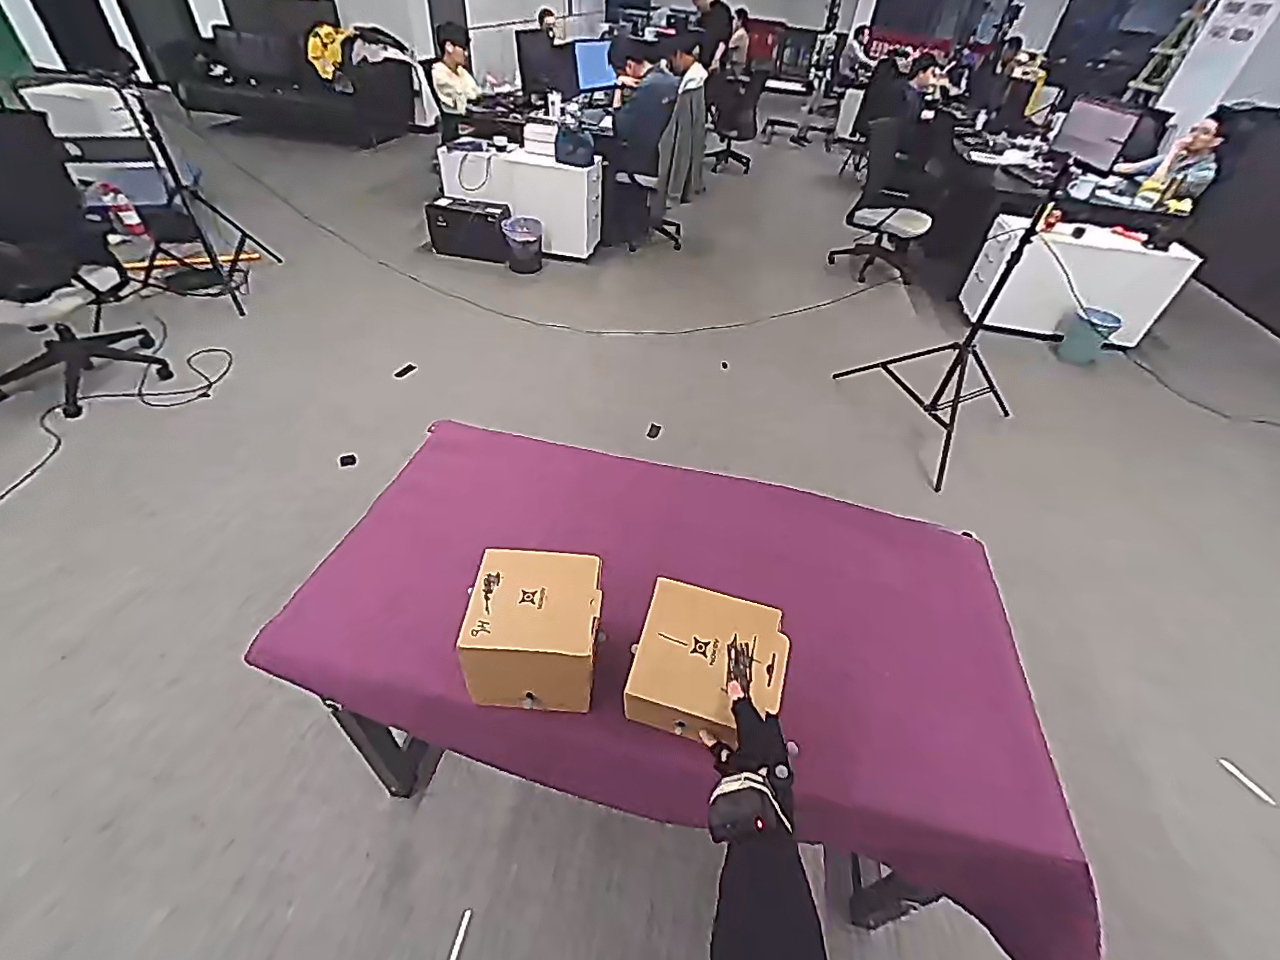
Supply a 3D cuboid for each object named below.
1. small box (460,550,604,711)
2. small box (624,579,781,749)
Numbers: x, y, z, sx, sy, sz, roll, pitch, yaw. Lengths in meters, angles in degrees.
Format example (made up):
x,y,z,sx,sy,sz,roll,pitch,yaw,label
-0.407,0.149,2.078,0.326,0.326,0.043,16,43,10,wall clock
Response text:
x,y,z,sx,sy,sz,roll,pitch,yaw,label
-0.152,0.228,0.809,0.179,0.176,0.168,5,41,-3,small box
0.085,0.266,0.767,0.179,0.176,0.168,14,57,9,small box
